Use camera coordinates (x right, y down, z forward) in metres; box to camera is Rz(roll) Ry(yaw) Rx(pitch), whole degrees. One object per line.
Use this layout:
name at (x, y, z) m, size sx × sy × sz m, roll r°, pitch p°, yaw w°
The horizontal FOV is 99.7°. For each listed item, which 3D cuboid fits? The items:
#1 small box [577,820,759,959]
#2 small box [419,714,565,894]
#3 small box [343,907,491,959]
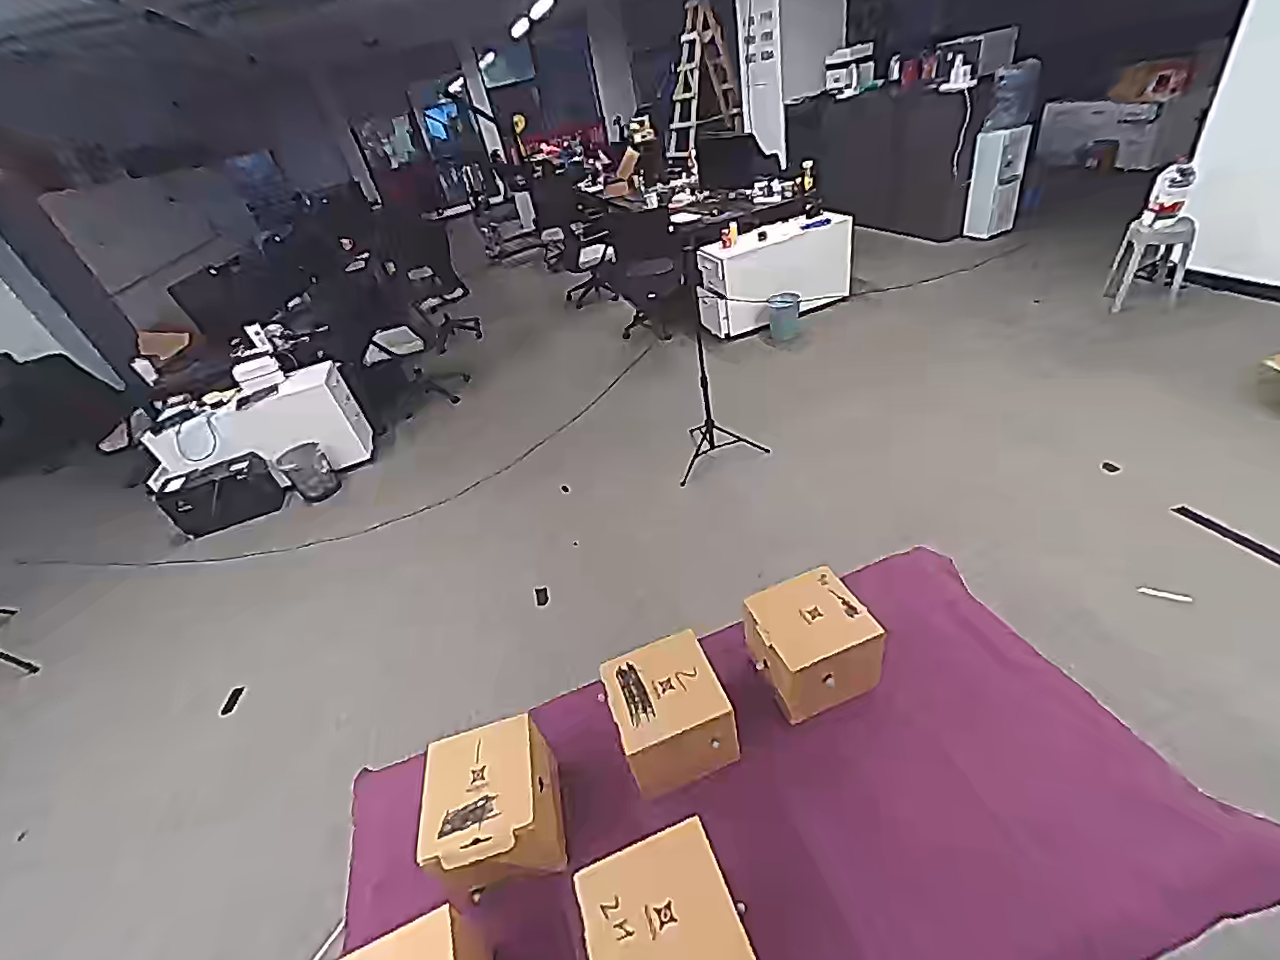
small box at (0.039, 0.572, 0.673) m, size 0.179 × 0.176 × 0.168 m, roll -20°, pitch 37°, yaw -8°
small box at (-0.222, 0.508, 0.843) m, size 0.168 × 0.176 × 0.179 m, roll -16°, pitch 36°, yaw -4°
small box at (-0.267, 0.668, 0.641) m, size 0.168 × 0.176 × 0.179 m, roll -21°, pitch 37°, yaw -13°
